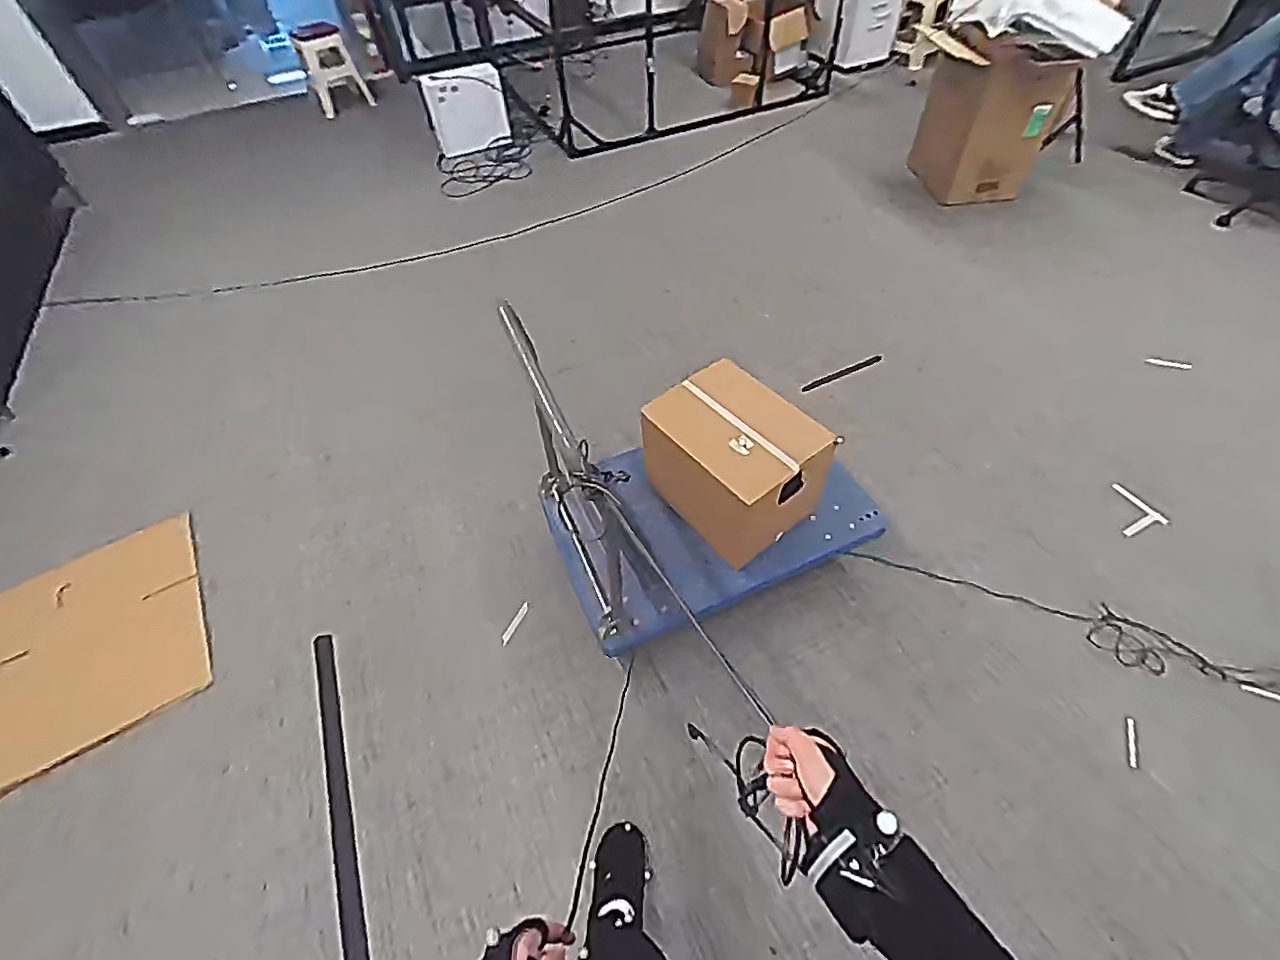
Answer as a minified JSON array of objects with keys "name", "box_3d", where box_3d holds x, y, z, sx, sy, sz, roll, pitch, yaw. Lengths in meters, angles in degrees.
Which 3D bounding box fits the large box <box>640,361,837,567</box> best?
[{"name":"large box","box_3d":[0.242,-0.047,1.472,0.320,0.320,0.408,-34,58,-20]}]
